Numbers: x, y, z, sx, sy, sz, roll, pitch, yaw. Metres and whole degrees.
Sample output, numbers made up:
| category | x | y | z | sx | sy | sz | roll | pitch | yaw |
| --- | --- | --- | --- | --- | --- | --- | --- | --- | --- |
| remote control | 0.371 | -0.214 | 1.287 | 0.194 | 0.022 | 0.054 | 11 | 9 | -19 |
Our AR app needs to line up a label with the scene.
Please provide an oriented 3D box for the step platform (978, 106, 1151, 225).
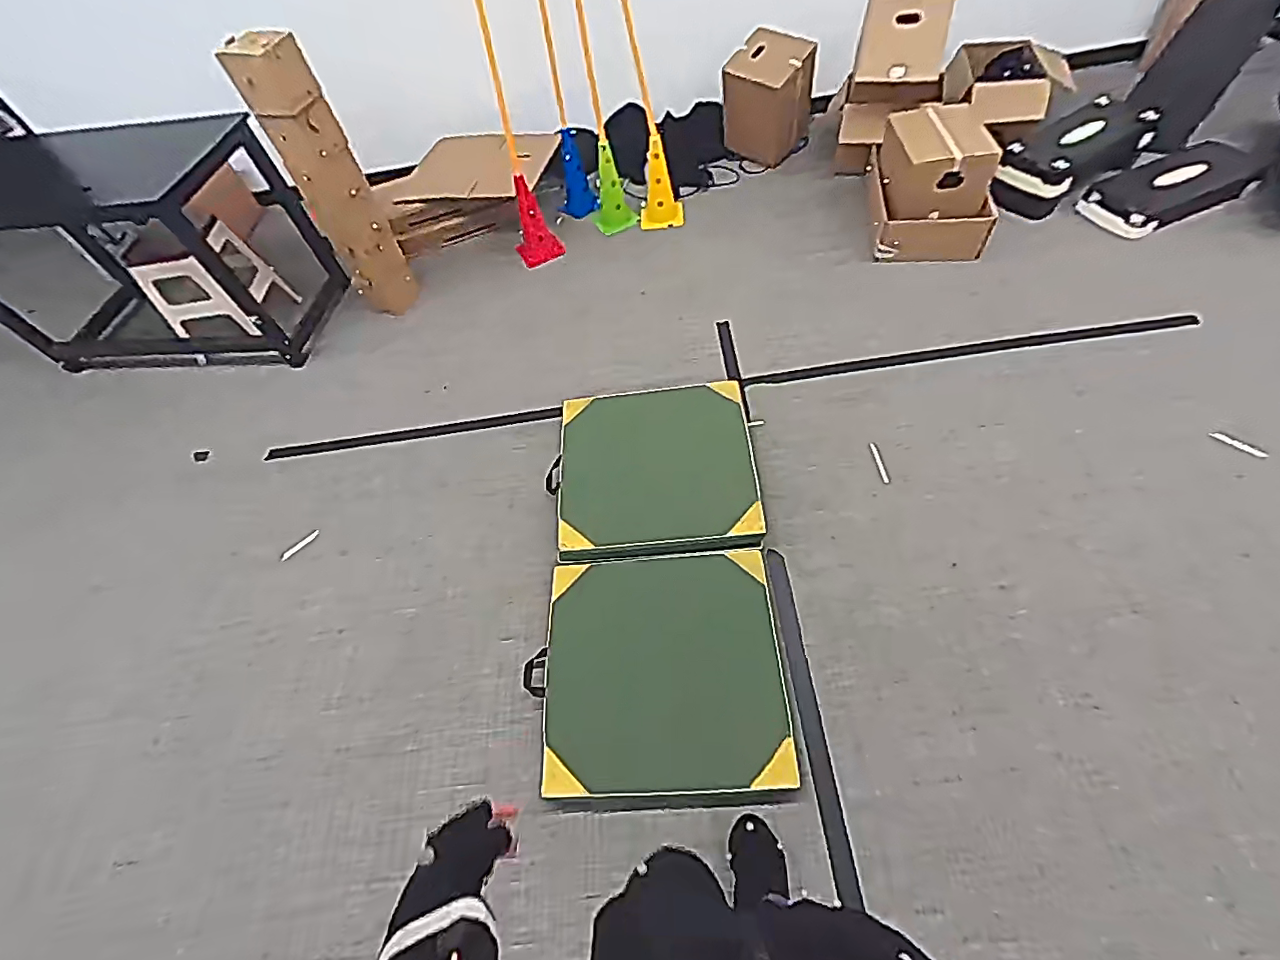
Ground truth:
| category | x | y | z | sx | sy | sz | roll | pitch | yaw |
| --- | --- | --- | --- | --- | --- | --- | --- | --- | --- |
| step platform | 1.821 | -1.362 | 2.323 | 0.684 | 0.204 | 0.286 | -32 | 58 | -12 |
